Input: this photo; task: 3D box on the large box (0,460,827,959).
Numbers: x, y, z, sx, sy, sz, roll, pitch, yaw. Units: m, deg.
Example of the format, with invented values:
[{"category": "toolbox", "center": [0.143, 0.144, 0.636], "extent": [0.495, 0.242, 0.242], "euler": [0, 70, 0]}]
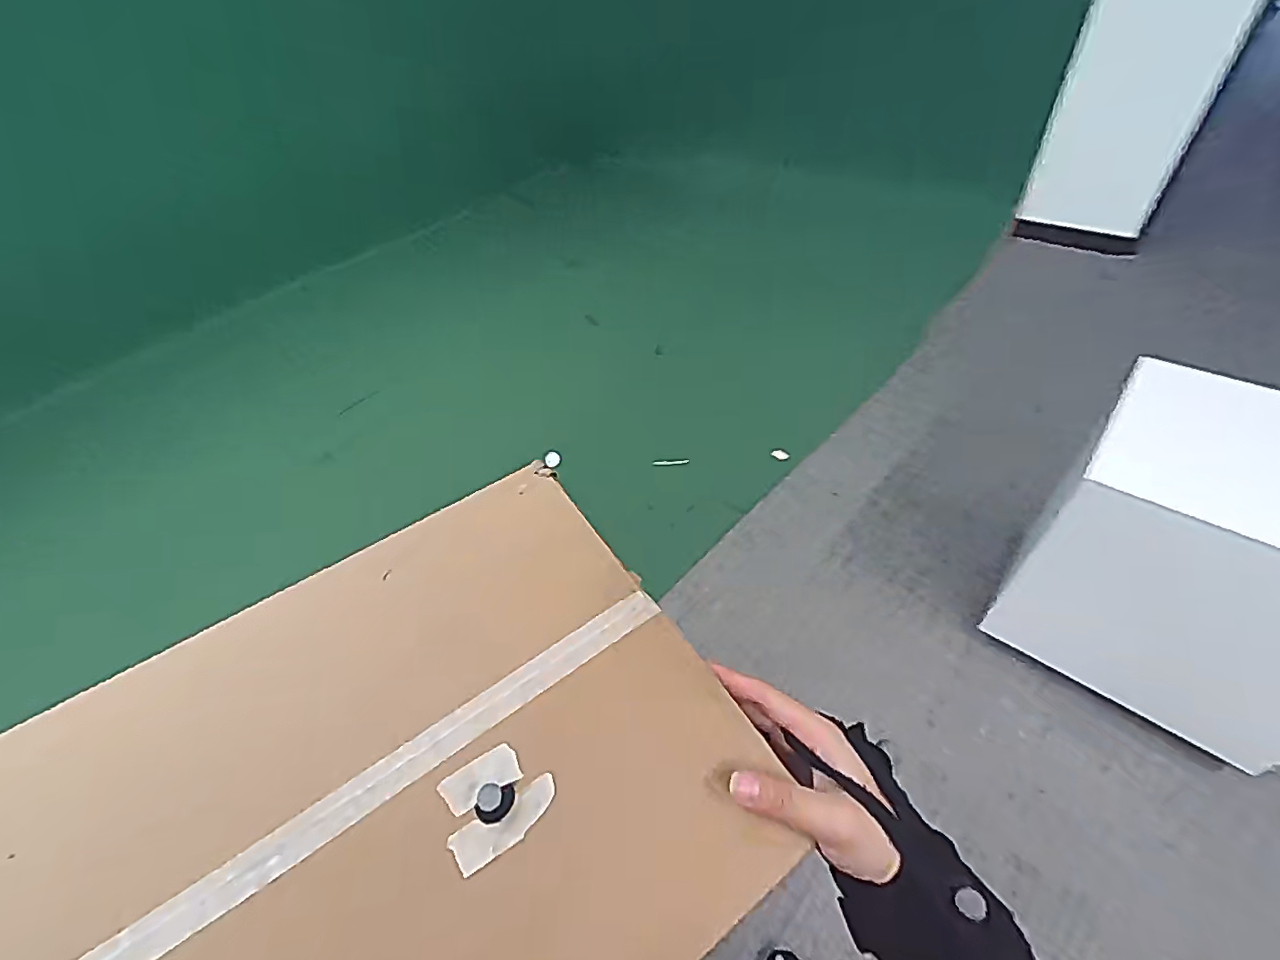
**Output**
[{"category": "large box", "center": [-0.138, 0.261, 0.424], "extent": [0.408, 0.320, 0.320], "euler": [-28, 57, -20]}]
